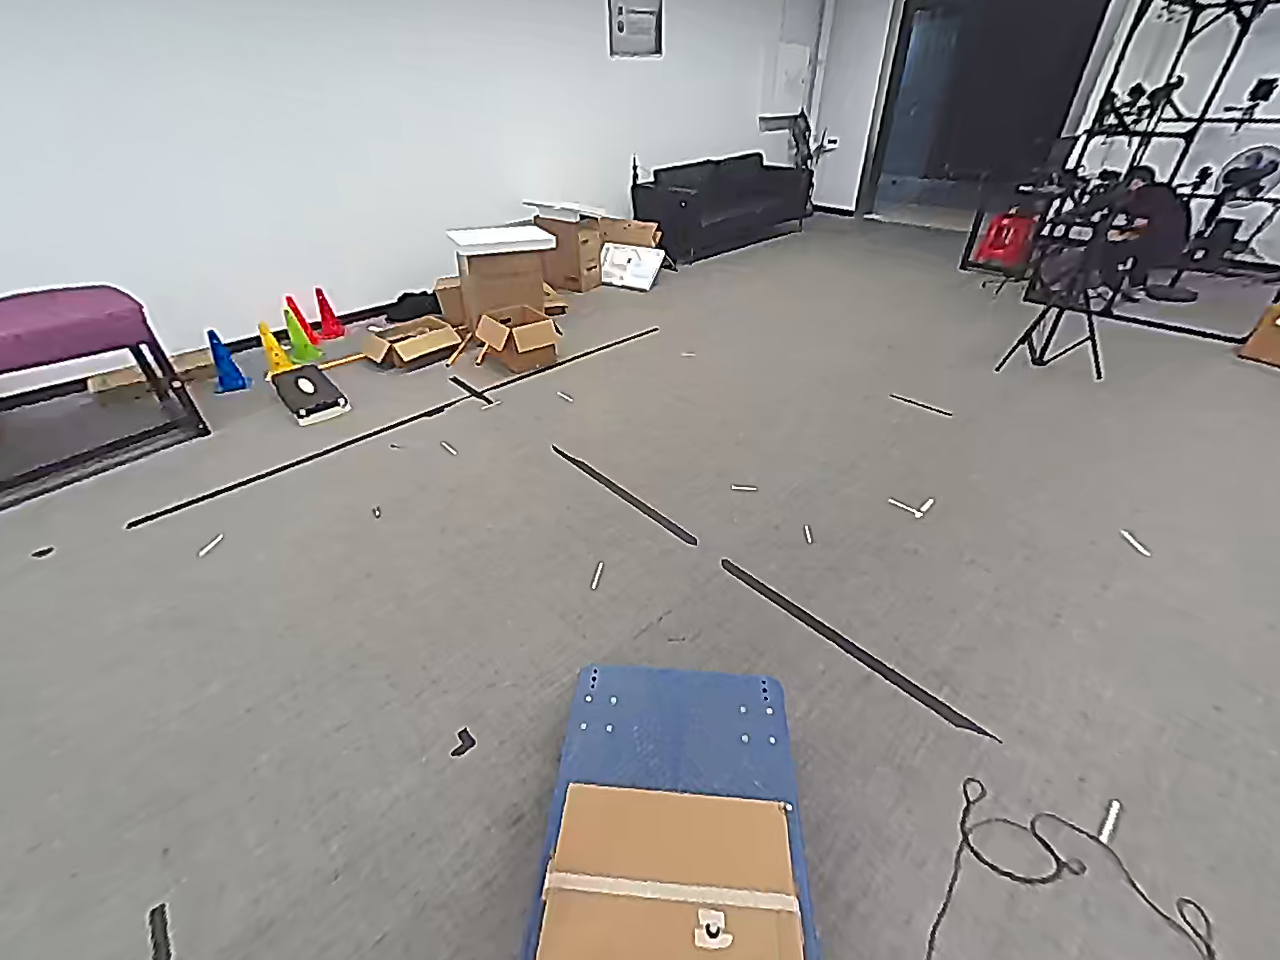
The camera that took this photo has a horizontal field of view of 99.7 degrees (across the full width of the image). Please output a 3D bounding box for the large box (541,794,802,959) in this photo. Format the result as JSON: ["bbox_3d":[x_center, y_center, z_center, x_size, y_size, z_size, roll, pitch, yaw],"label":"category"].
[{"bbox_3d":[0.051,0.806,0.964,0.408,0.320,0.320,3,37,4],"label":"large box"}]
